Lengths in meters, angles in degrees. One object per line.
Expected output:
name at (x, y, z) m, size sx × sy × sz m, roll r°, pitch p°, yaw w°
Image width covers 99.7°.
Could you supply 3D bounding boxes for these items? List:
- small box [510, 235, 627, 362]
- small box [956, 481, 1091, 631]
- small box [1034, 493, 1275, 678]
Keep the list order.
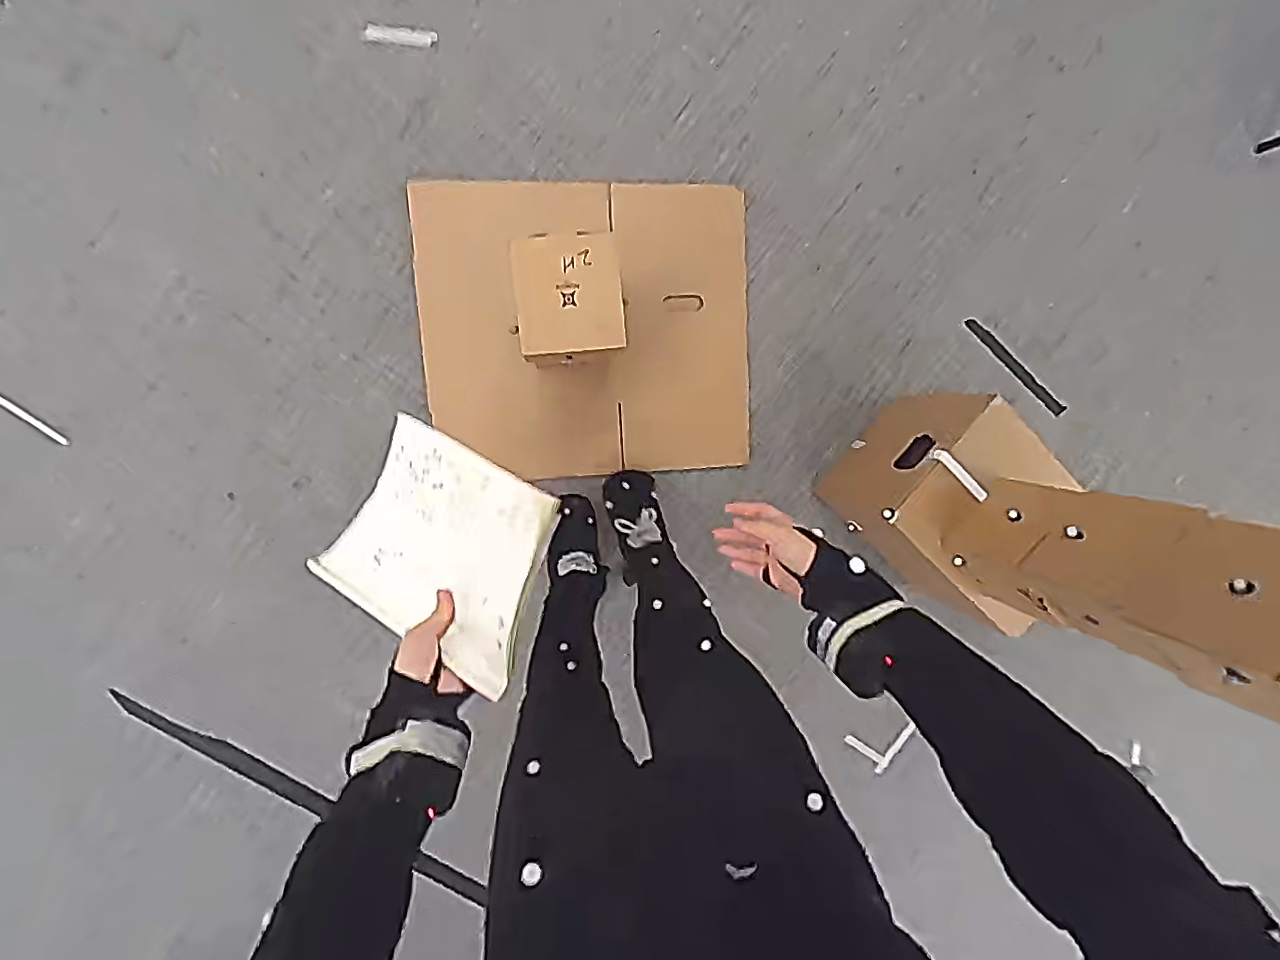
small box at (-0.118, -0.291, 0.899) m, size 0.168 × 0.176 × 0.179 m, roll -7°, pitch 100°, yaw -9°
small box at (0.700, 0.125, 0.954) m, size 0.168 × 0.176 × 0.179 m, roll 44°, pitch 90°, yaw -12°
small box at (0.730, 0.143, 0.794) m, size 0.168 × 0.176 × 0.179 m, roll 41°, pitch 92°, yaw -13°
